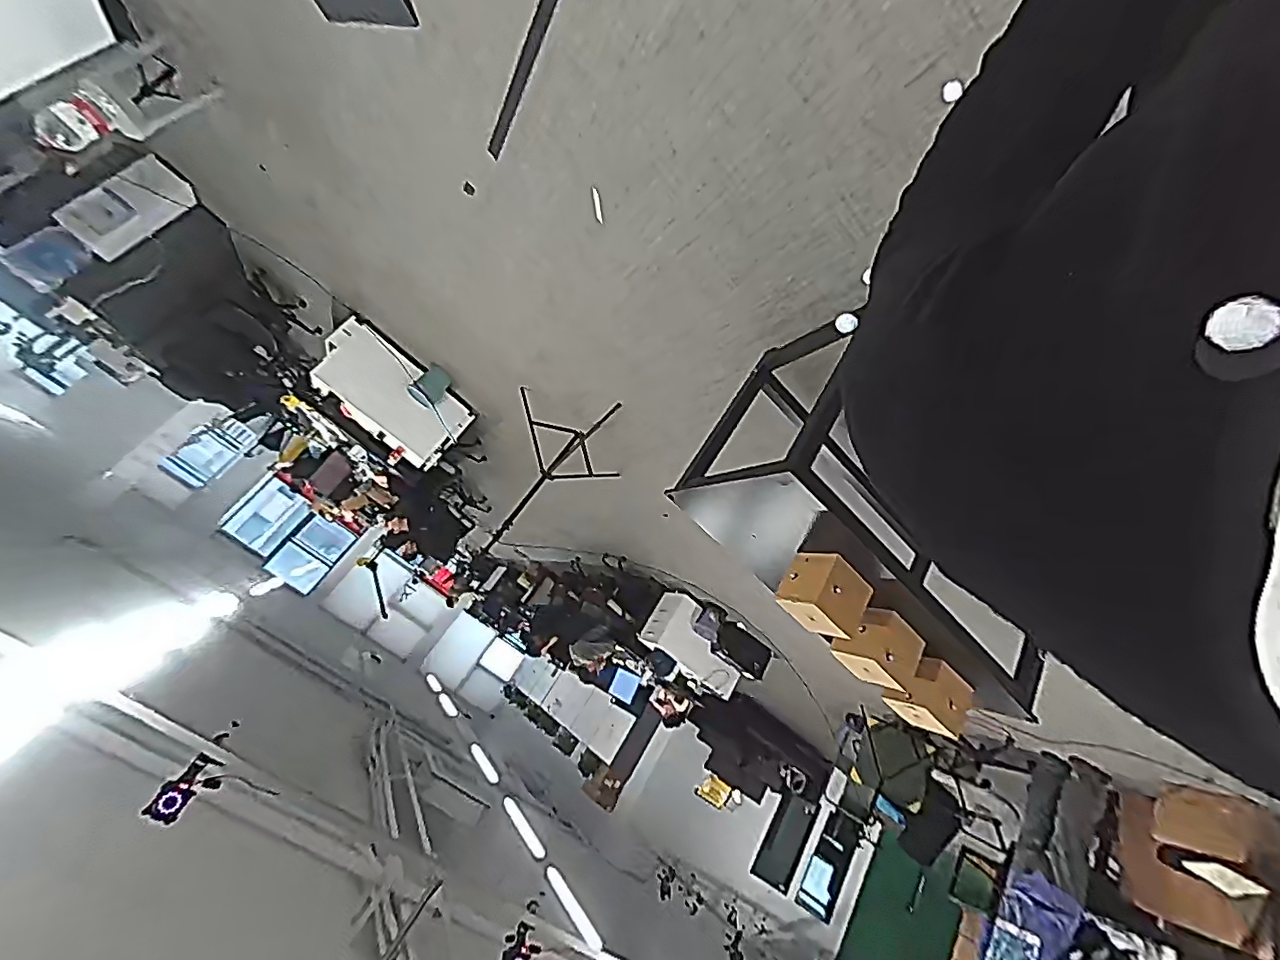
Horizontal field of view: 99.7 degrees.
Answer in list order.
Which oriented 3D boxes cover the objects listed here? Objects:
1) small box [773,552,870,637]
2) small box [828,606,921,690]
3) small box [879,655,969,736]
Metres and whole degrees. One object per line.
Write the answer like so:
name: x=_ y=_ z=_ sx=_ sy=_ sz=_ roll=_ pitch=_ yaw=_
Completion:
small box: x=0.524 y=0.322 z=1.557 sx=0.179 sy=0.176 sz=0.168 roll=41 pitch=158 yaw=-18
small box: x=0.715 y=0.499 z=1.641 sx=0.179 sy=0.176 sz=0.168 roll=43 pitch=157 yaw=-19
small box: x=0.909 y=0.673 z=1.723 sx=0.179 sy=0.176 sz=0.168 roll=41 pitch=157 yaw=-16
